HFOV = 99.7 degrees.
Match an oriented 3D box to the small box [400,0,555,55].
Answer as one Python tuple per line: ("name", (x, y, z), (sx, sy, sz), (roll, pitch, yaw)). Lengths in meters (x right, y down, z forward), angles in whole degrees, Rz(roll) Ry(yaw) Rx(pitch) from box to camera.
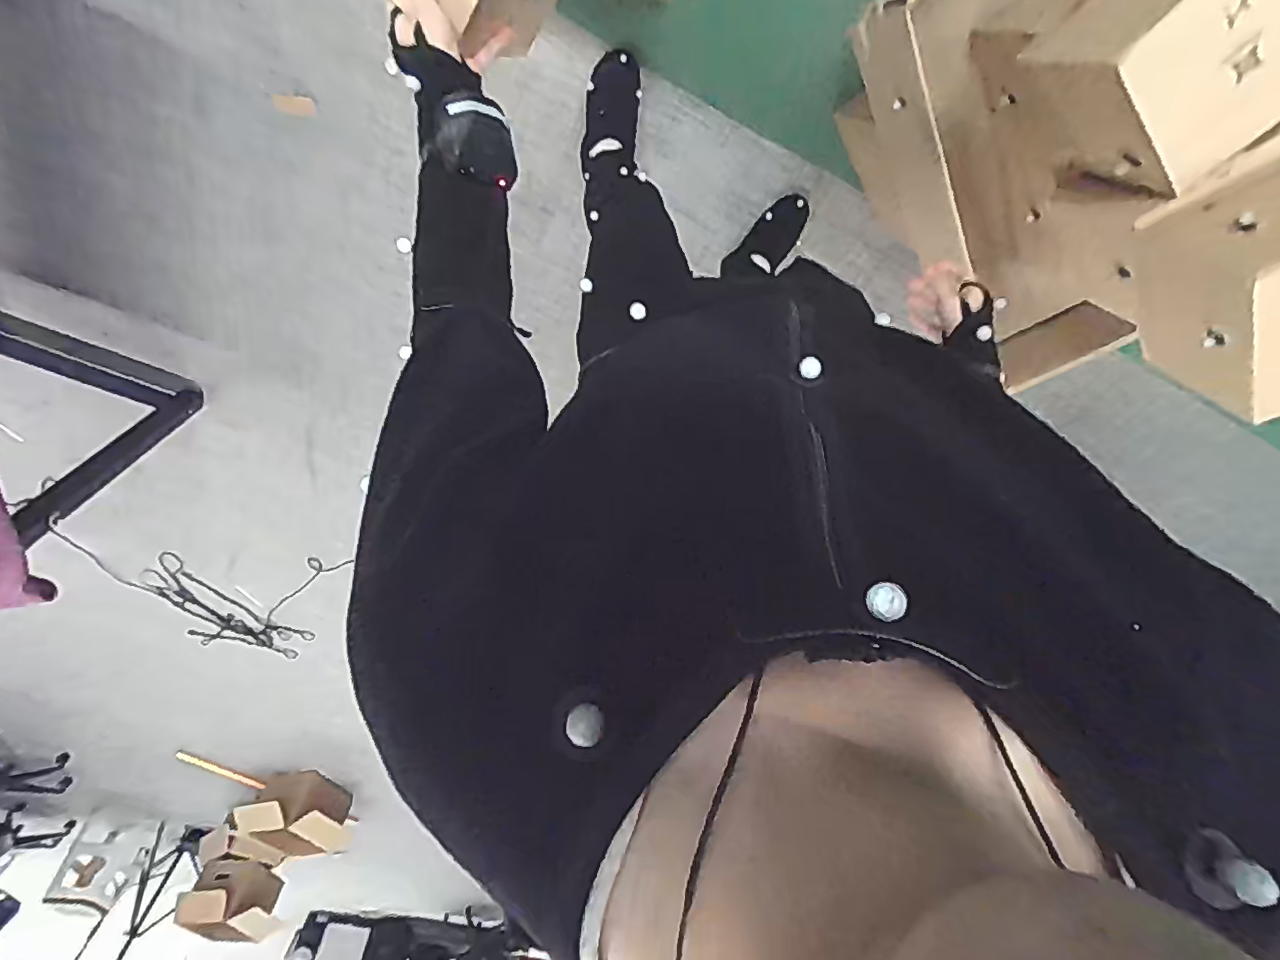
("small box", (-0.154, -0.530, 0.483), (0.168, 0.176, 0.179), (43, 129, -15))

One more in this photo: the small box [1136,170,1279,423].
("small box", (0.646, -0.195, 0.539), (0.168, 0.176, 0.179), (-26, 120, 21))
